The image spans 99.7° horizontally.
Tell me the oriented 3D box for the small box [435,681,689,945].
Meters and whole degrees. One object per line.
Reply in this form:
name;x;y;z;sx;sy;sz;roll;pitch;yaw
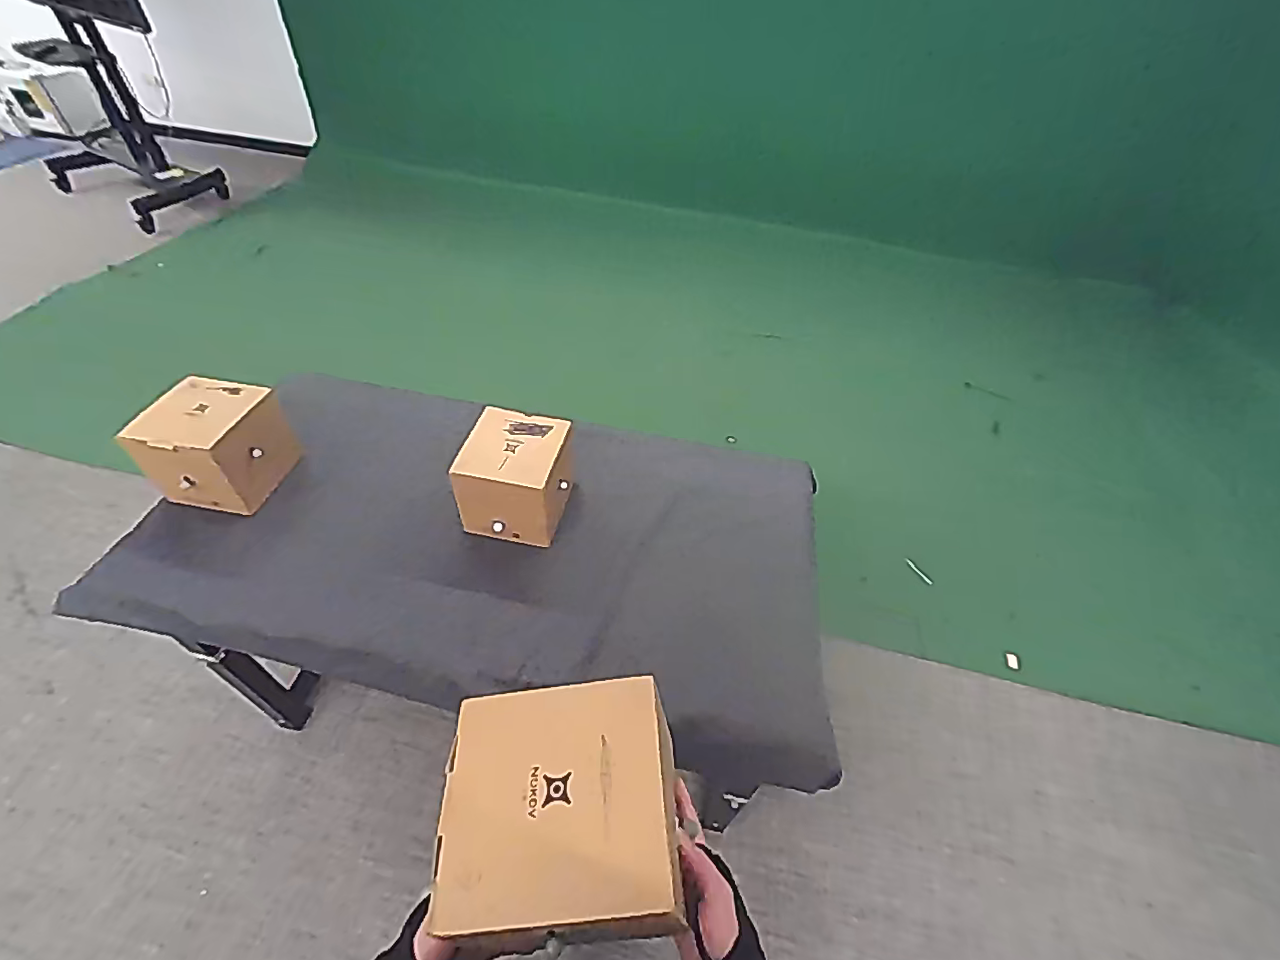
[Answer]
small box;-0.056;0.303;0.489;0.179;0.176;0.168;-7;47;2

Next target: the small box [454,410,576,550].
small box;-0.223;0.001;1.010;0.168;0.176;0.179;11;48;4

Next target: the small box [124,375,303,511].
small box;-0.772;-0.065;1.007;0.168;0.176;0.179;10;48;2
